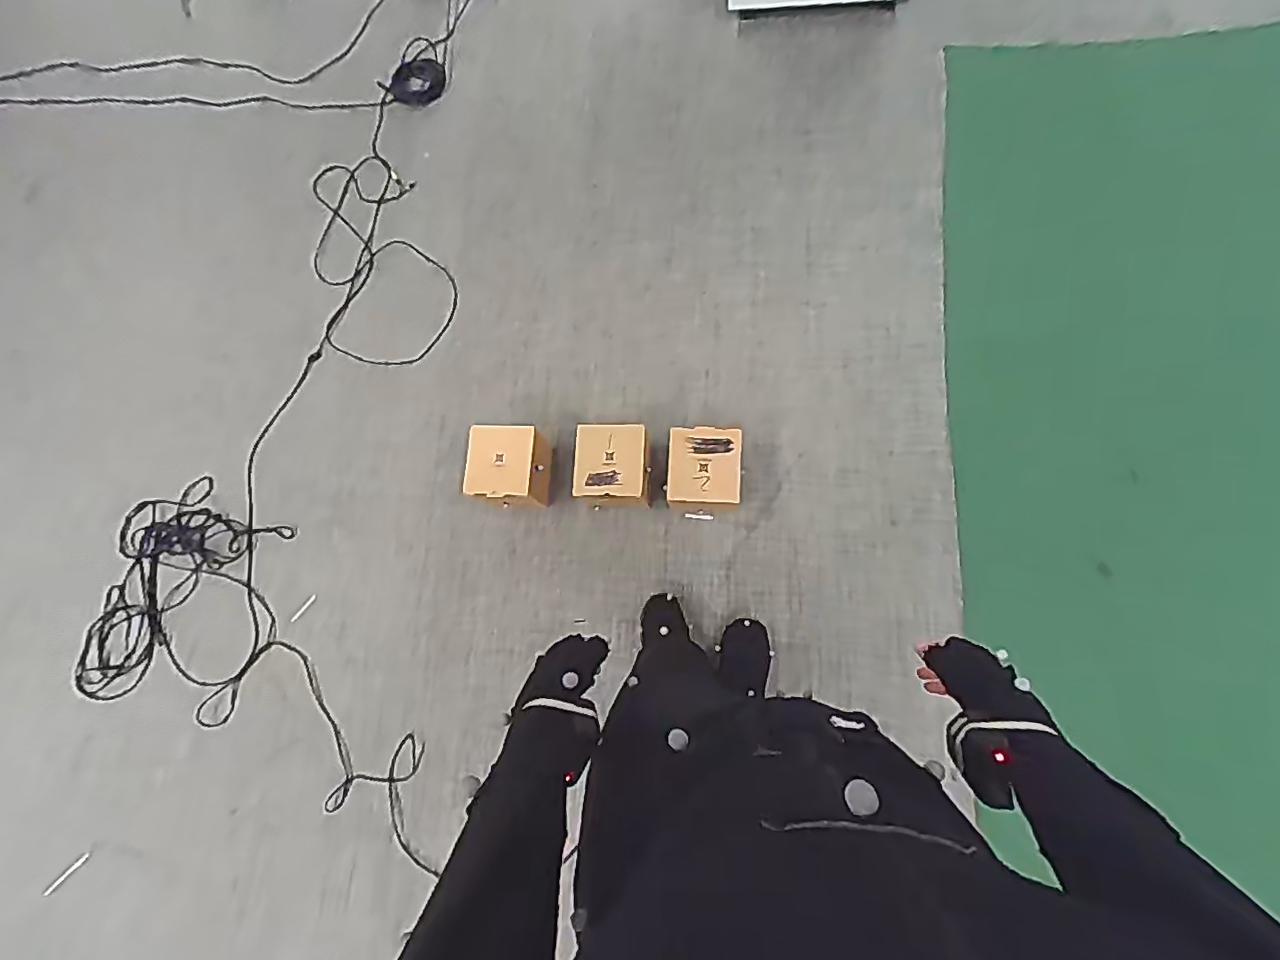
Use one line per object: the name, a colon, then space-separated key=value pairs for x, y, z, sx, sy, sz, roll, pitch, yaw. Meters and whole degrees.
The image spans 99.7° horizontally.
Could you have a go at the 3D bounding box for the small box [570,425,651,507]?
small box: x=-0.067 y=-0.029 z=1.349 sx=0.168 sy=0.176 sz=0.179 roll=1 pitch=77 yaw=9

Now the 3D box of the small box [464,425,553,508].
small box: x=-0.330 y=-0.031 z=1.390 sx=0.168 sy=0.176 sz=0.179 roll=2 pitch=78 yaw=9
